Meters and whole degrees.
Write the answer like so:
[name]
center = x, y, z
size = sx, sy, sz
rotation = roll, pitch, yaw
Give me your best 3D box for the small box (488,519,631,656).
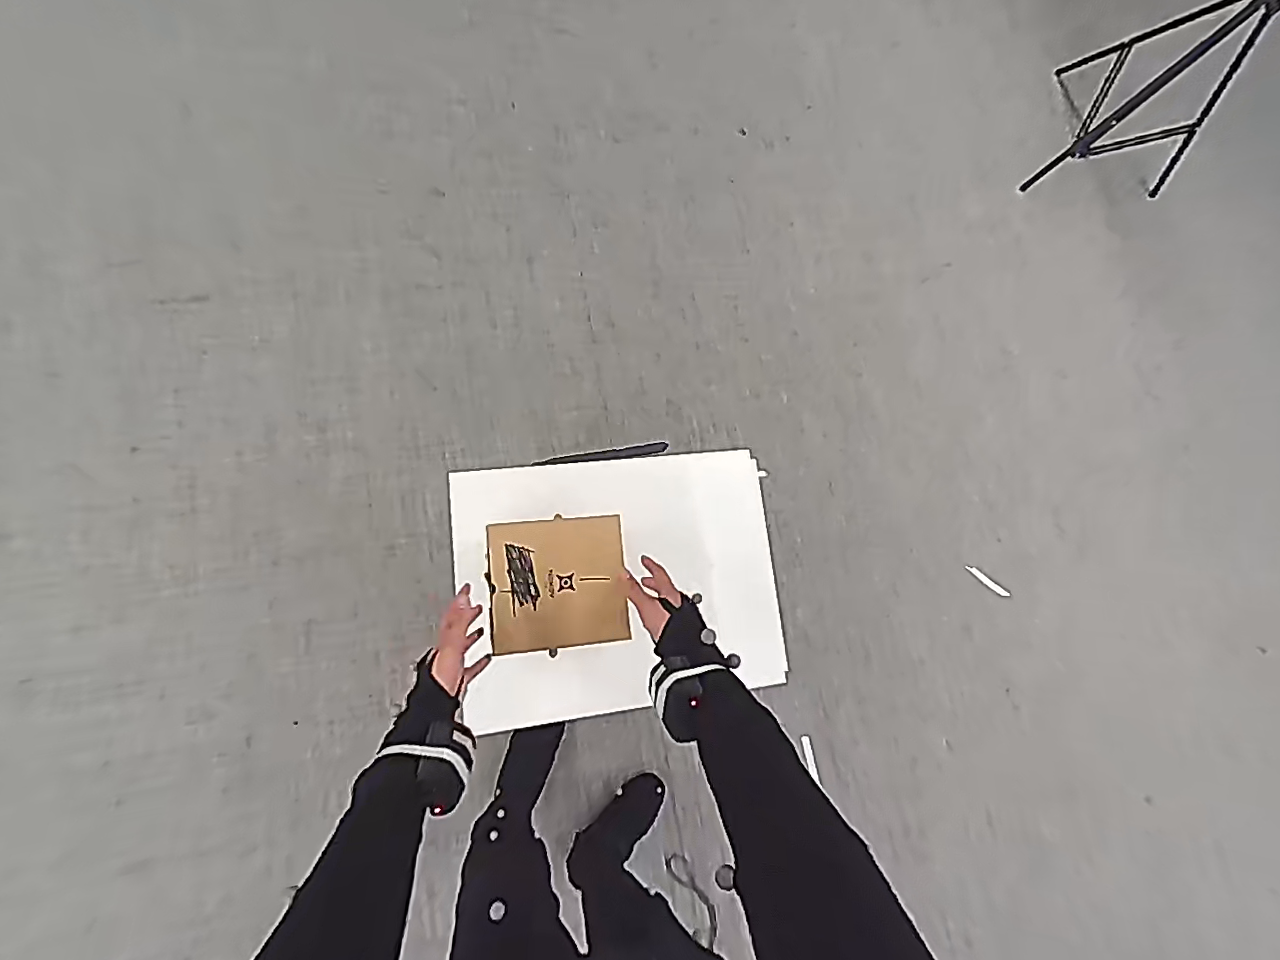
[small box]
center = -0.117, 0.152, 0.771
size = 0.179, 0.176, 0.168
rotation = -3, 79, -12
